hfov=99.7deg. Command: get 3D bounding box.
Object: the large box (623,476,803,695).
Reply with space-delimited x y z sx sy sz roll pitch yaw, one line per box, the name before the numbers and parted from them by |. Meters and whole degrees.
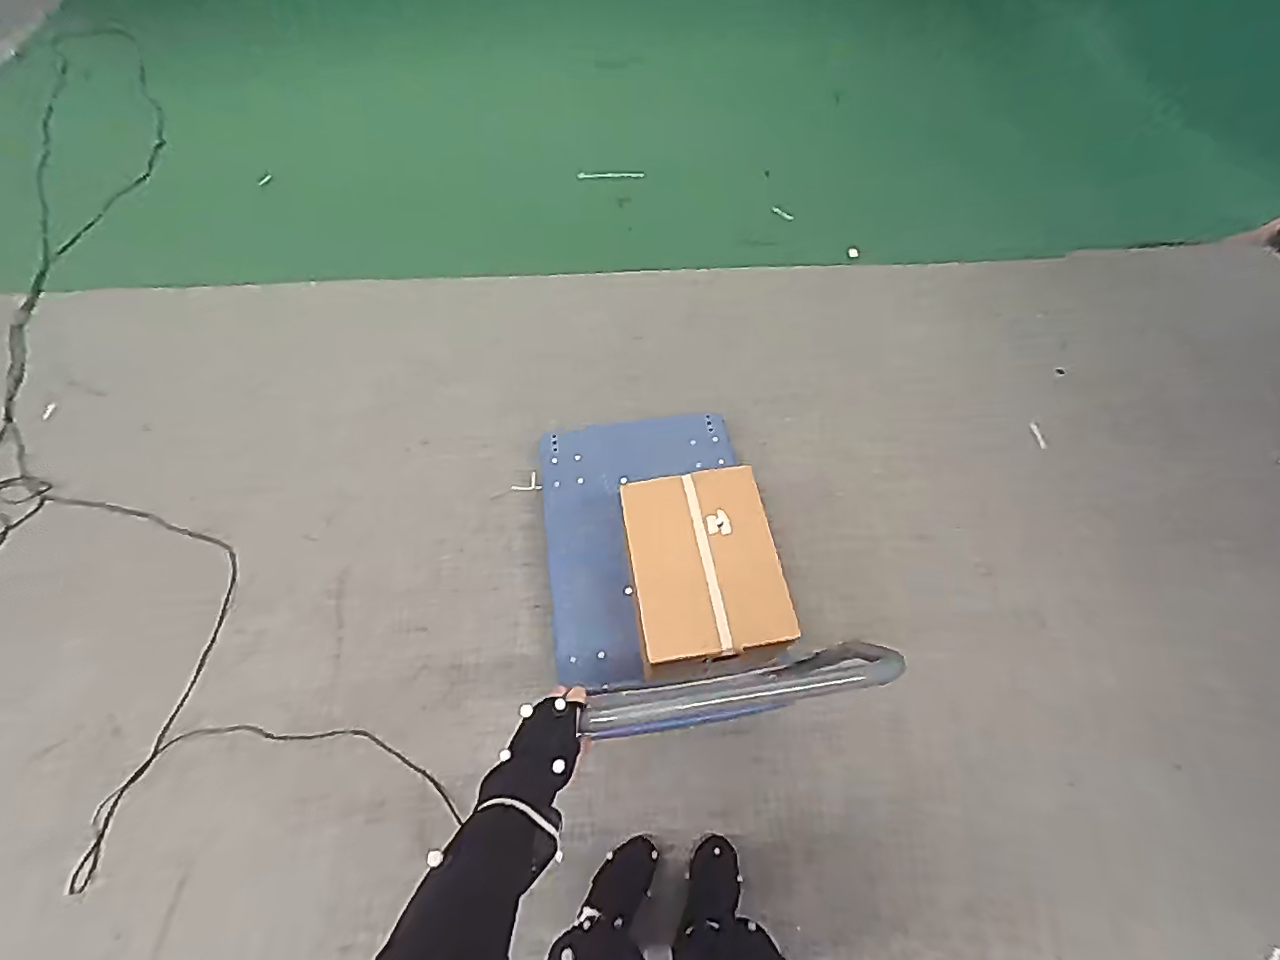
large box | 0.144 0.256 1.285 0.320 0.320 0.408 -8 61 -5
